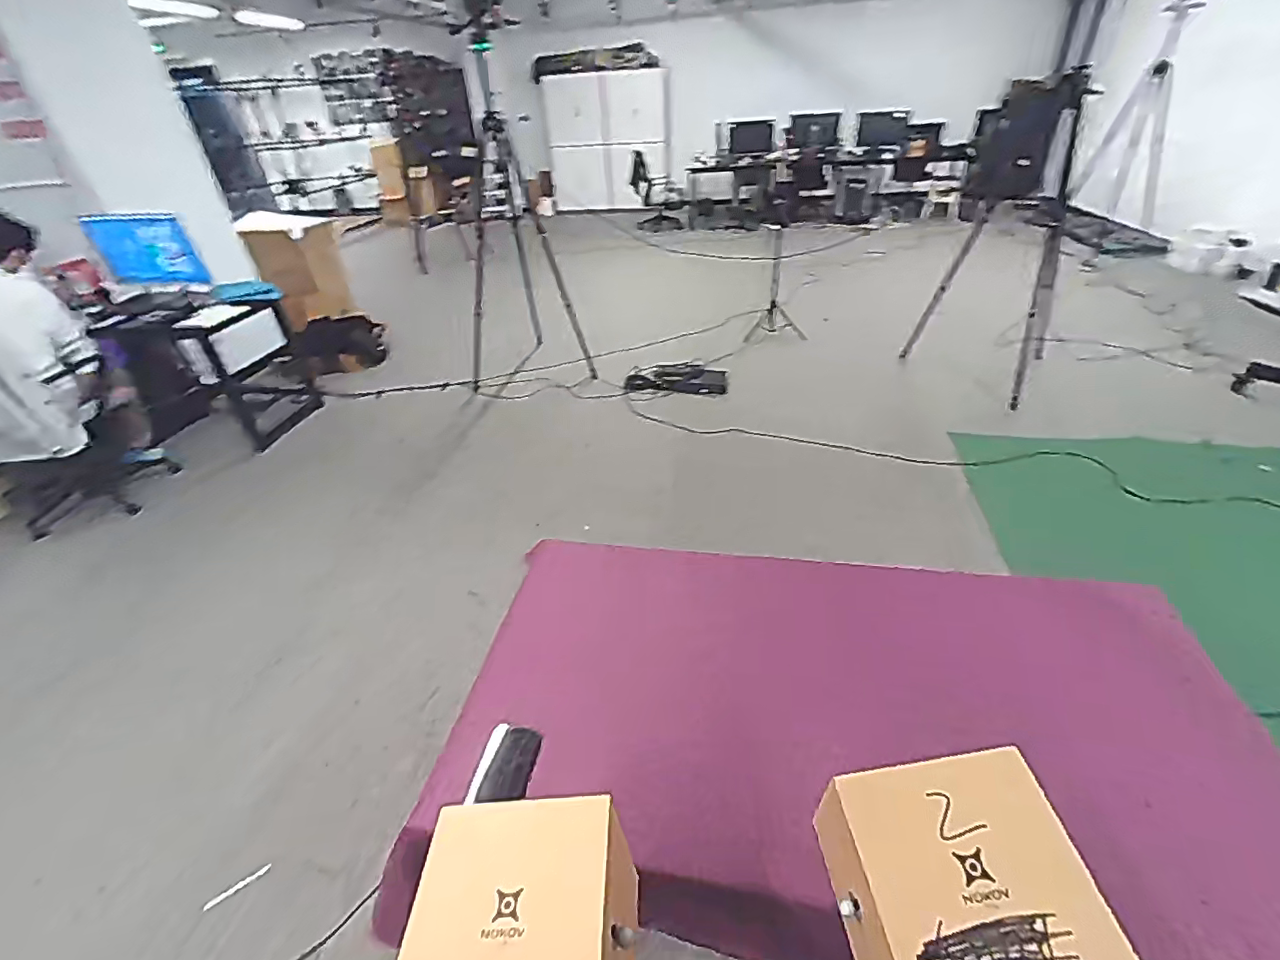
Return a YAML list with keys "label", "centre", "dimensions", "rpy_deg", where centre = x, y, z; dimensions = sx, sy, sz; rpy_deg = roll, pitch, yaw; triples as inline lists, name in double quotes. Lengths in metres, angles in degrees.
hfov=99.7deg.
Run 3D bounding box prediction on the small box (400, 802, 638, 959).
- label: "small box"
  centre: [-0.095, 0.420, 0.478]
  dimensions: [0.168, 0.176, 0.179]
  rpy_deg: [-7, 34, 5]
